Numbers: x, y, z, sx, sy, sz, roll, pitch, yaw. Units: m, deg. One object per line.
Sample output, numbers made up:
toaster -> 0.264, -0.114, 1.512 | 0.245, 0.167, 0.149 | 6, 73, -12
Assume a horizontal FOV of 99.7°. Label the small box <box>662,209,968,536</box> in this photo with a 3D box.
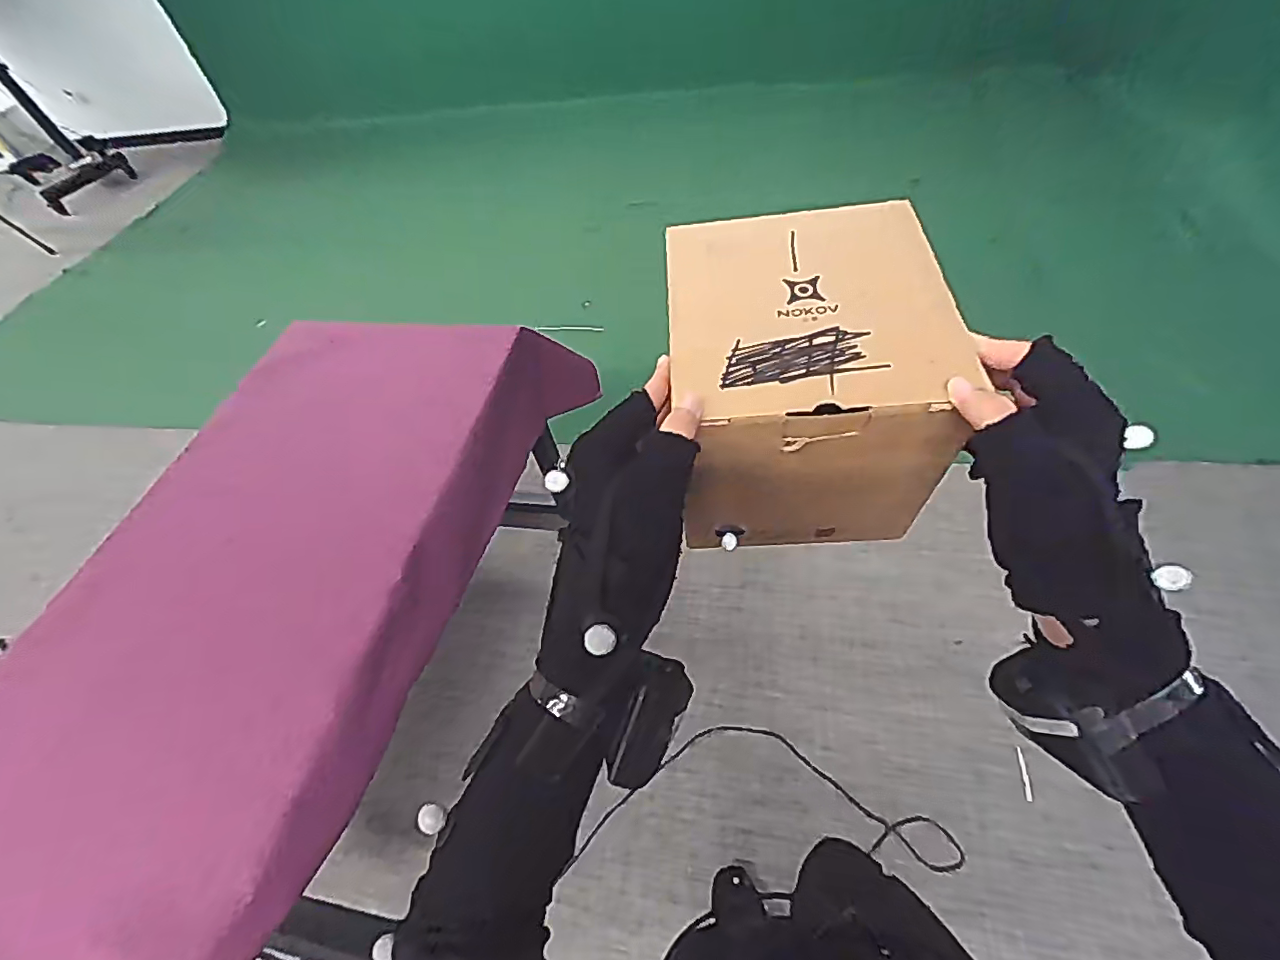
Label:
small box -> 0.106, -0.066, 0.405 | 0.168, 0.176, 0.179 | -4, 57, 6
